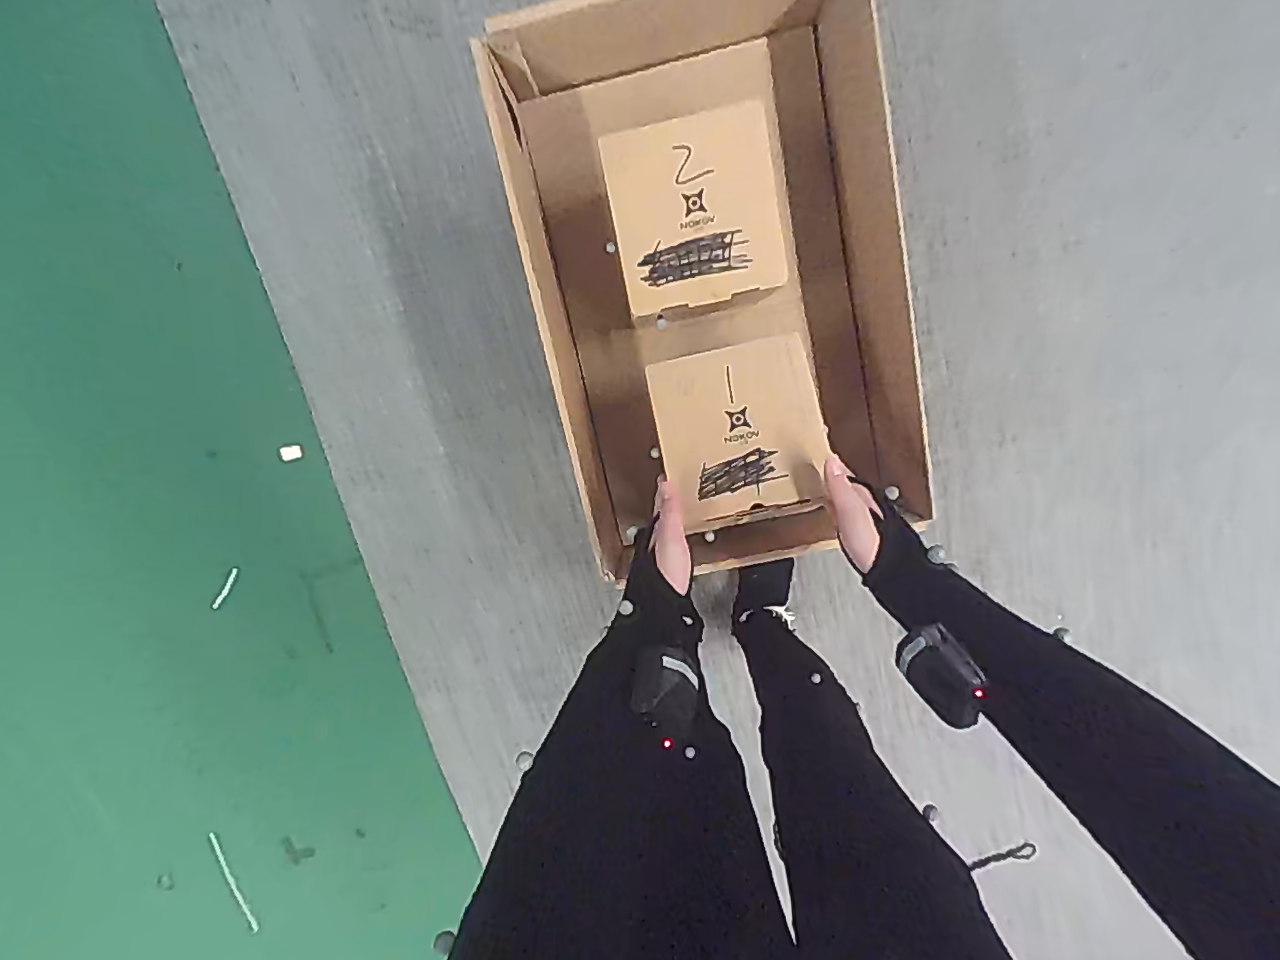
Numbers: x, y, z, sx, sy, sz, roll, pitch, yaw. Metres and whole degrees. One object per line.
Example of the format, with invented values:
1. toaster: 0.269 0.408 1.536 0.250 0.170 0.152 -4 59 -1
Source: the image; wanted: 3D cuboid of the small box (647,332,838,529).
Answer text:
1. small box: 0.111 -0.041 0.624 0.168 0.176 0.179 -12 79 5
